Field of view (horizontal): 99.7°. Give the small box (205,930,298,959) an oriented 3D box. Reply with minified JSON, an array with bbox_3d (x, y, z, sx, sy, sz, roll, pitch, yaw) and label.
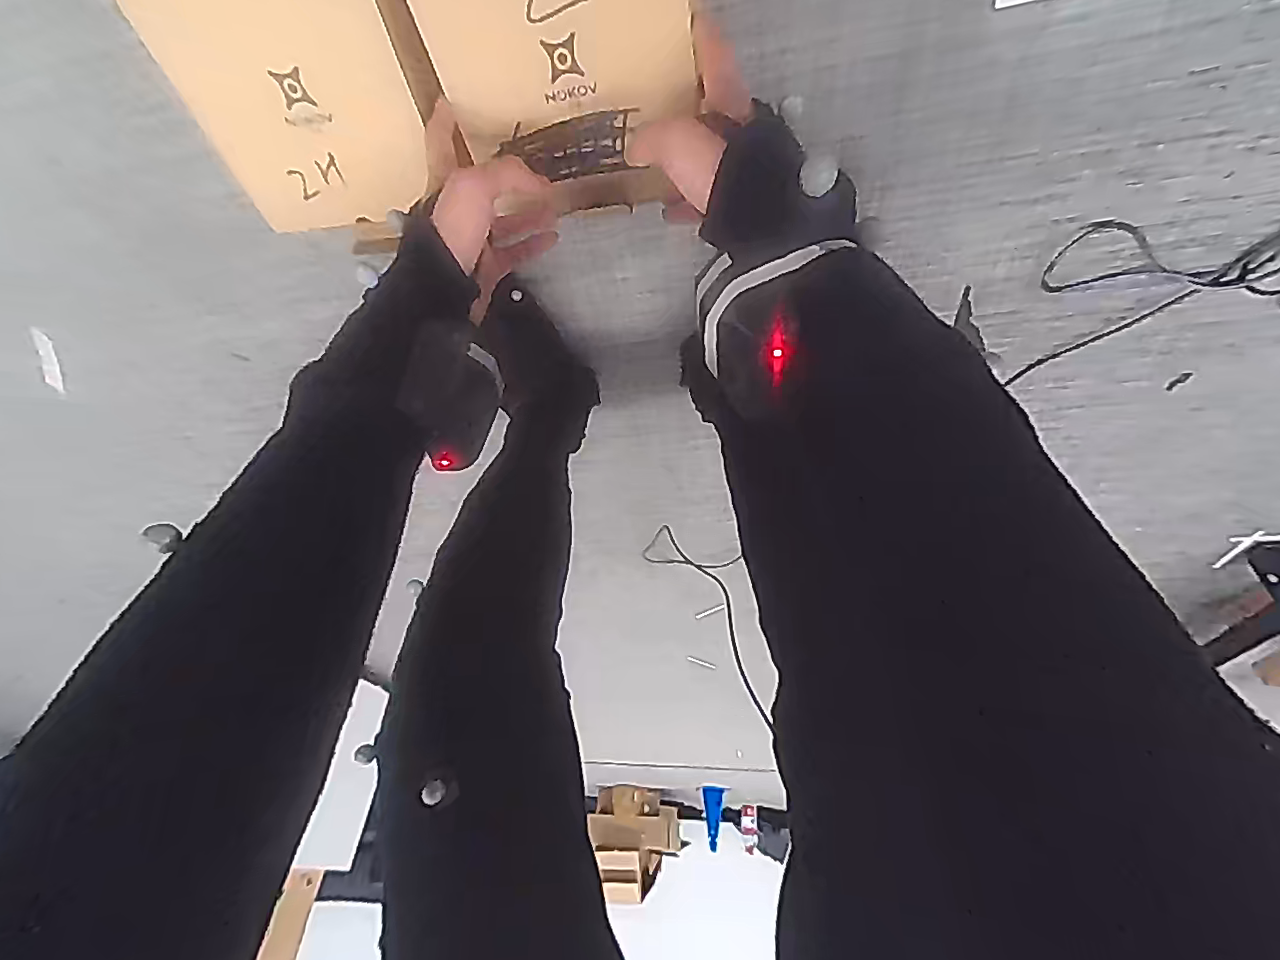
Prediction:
[{"bbox_3d":[-1.164,1.434,1.592,0.168,0.176,0.179,-3,144,13],"label":"small box"}]

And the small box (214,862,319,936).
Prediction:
[{"bbox_3d":[-1.152,1.299,1.684,0.179,0.176,0.168,-1,143,10],"label":"small box"}]
